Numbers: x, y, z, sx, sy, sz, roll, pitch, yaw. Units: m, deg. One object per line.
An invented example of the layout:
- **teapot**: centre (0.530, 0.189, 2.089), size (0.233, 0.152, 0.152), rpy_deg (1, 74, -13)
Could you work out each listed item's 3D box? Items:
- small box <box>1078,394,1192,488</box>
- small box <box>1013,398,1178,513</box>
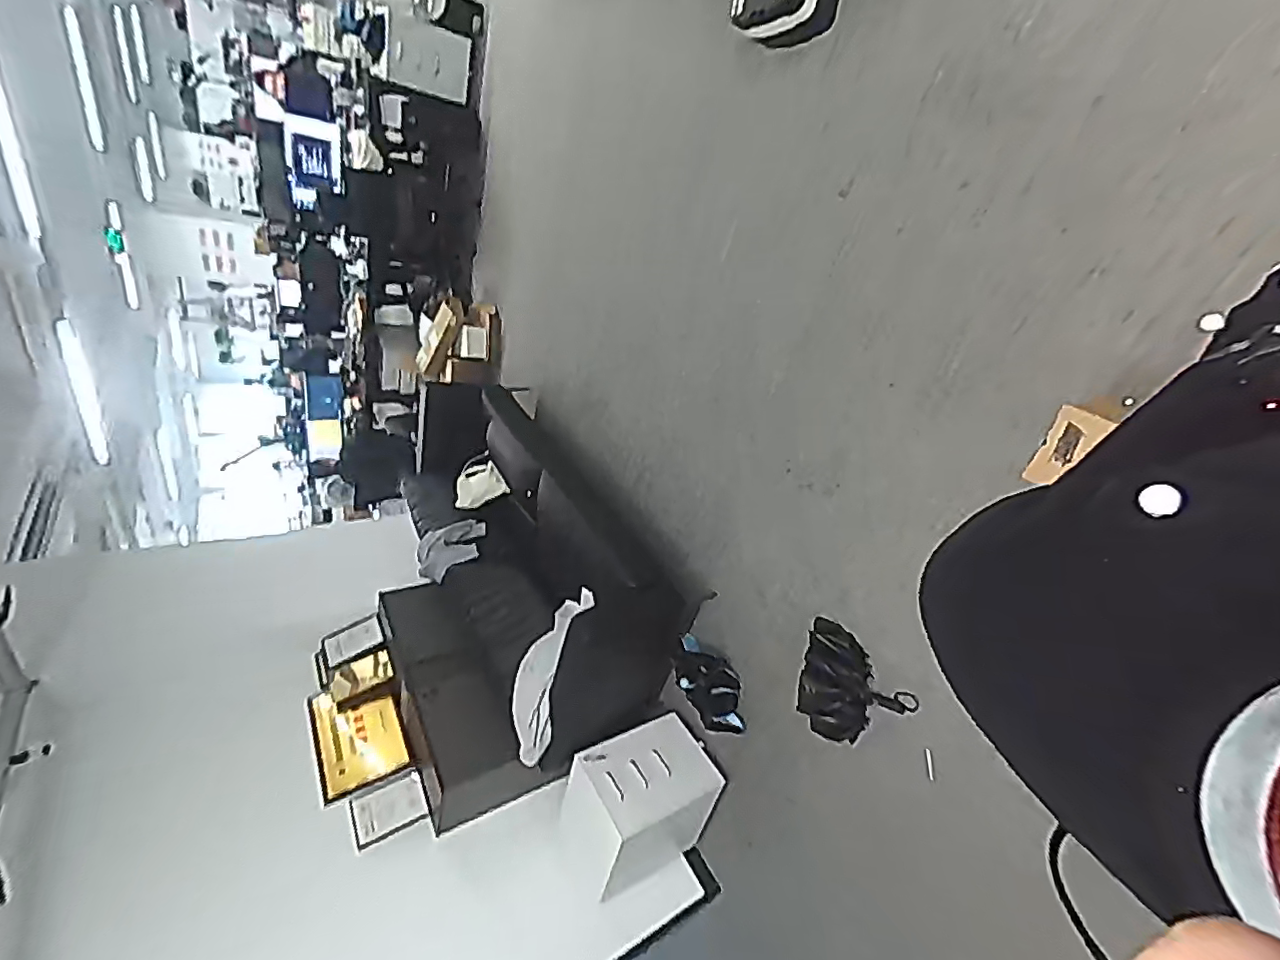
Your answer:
- **small box**: centre (1.037, -0.082, 1.181), size (0.179, 0.176, 0.168), rpy_deg (41, 130, 41)
- **small box**: centre (0.907, -0.056, 1.083), size (0.179, 0.176, 0.168), rpy_deg (41, 130, 42)
